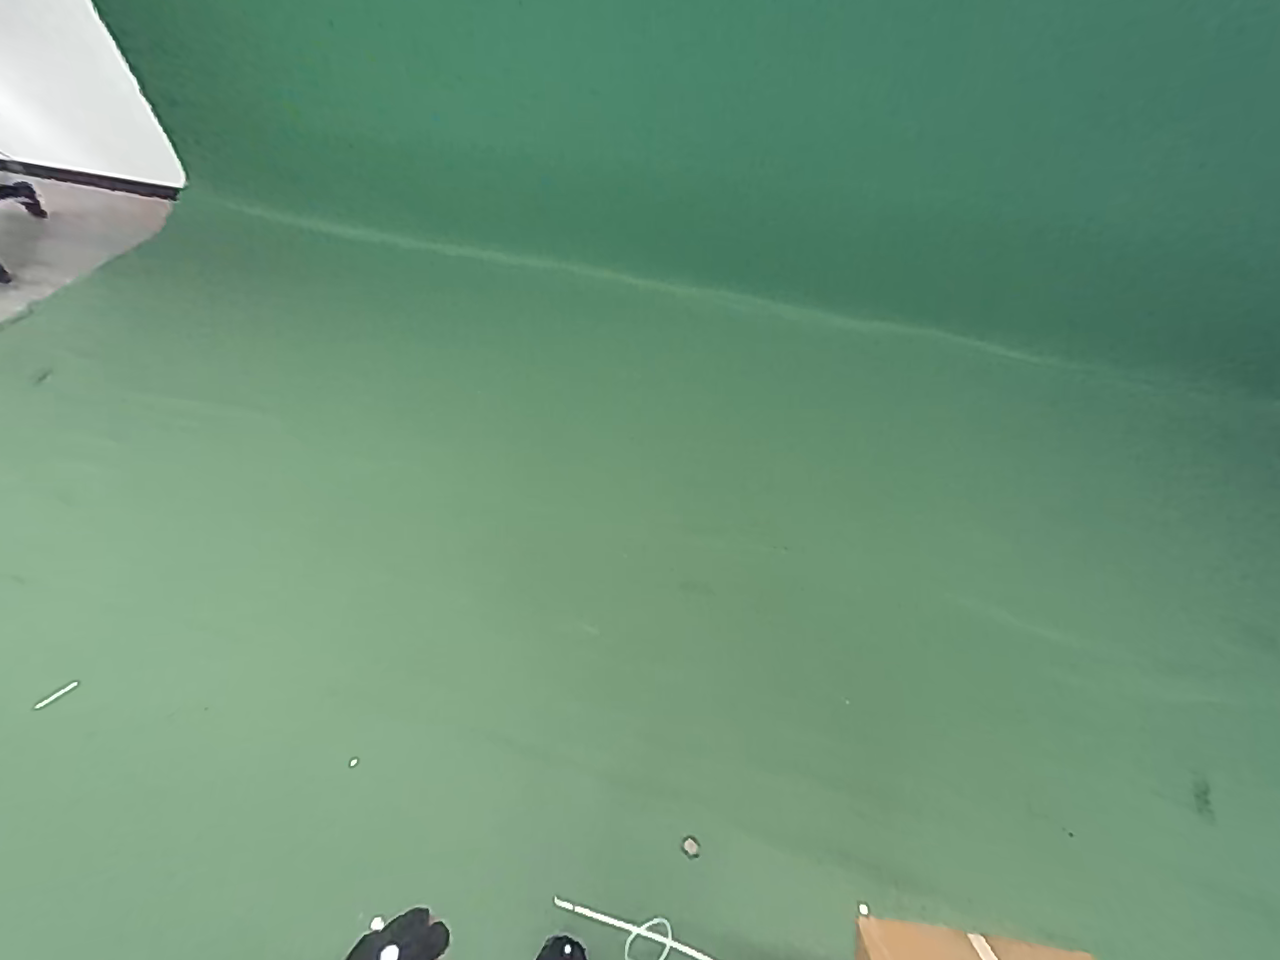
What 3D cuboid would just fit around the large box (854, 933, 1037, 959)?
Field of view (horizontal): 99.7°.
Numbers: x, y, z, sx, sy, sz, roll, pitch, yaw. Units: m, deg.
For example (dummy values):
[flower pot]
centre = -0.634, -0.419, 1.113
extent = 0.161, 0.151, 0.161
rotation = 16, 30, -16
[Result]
[large box]
centre = 0.428, 0.804, 0.560
extent = 0.320, 0.408, 0.320
rotation = 6, 88, 7
